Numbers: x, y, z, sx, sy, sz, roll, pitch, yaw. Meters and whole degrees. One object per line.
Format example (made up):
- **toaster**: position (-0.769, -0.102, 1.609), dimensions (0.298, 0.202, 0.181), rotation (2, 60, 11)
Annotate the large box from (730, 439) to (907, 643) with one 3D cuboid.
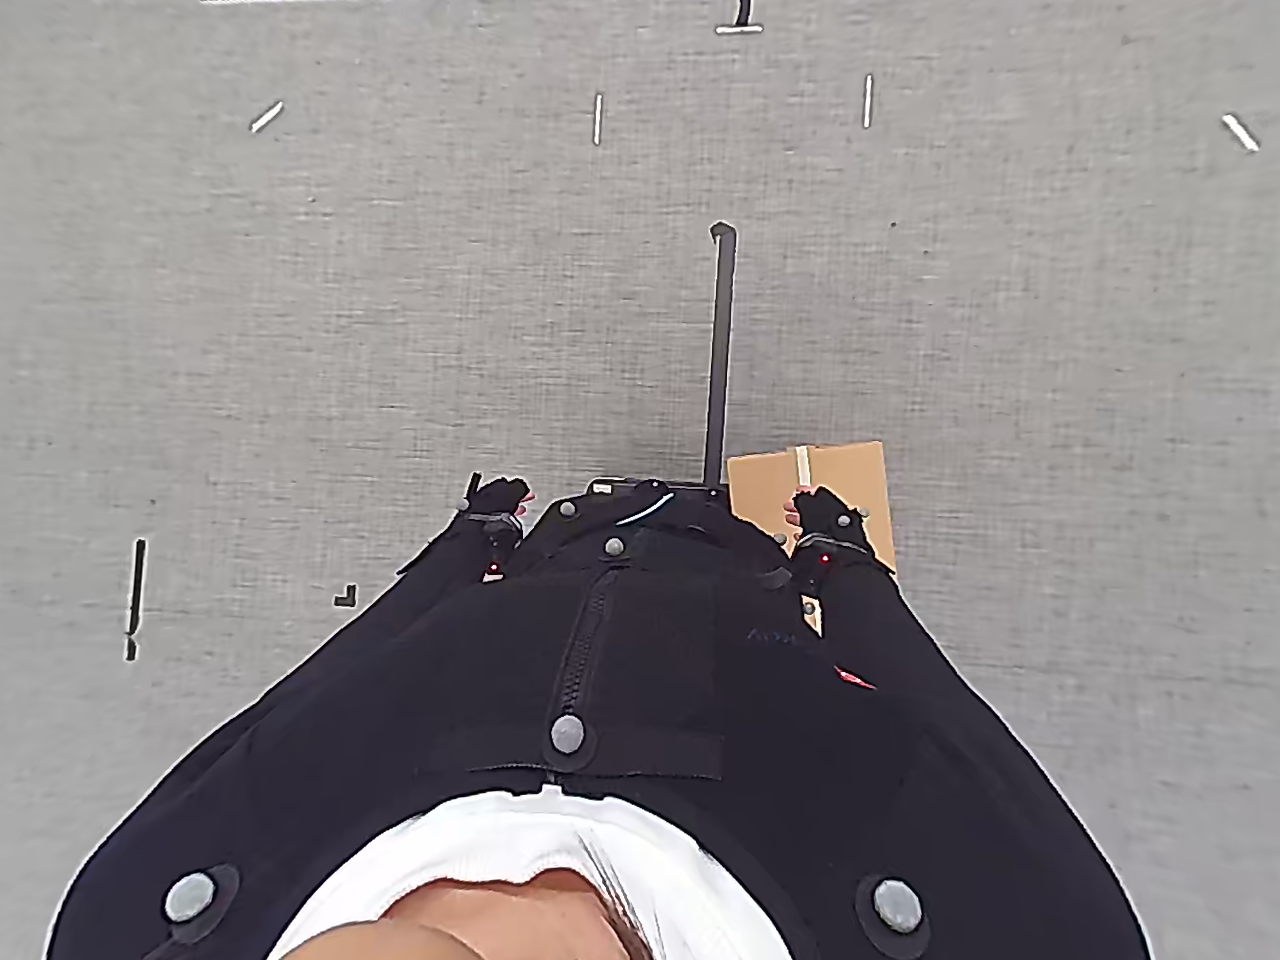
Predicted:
- **large box**: position (0.393, 0.127, 1.260), dimensions (0.320, 0.320, 0.408), rotation (-6, 90, 12)
